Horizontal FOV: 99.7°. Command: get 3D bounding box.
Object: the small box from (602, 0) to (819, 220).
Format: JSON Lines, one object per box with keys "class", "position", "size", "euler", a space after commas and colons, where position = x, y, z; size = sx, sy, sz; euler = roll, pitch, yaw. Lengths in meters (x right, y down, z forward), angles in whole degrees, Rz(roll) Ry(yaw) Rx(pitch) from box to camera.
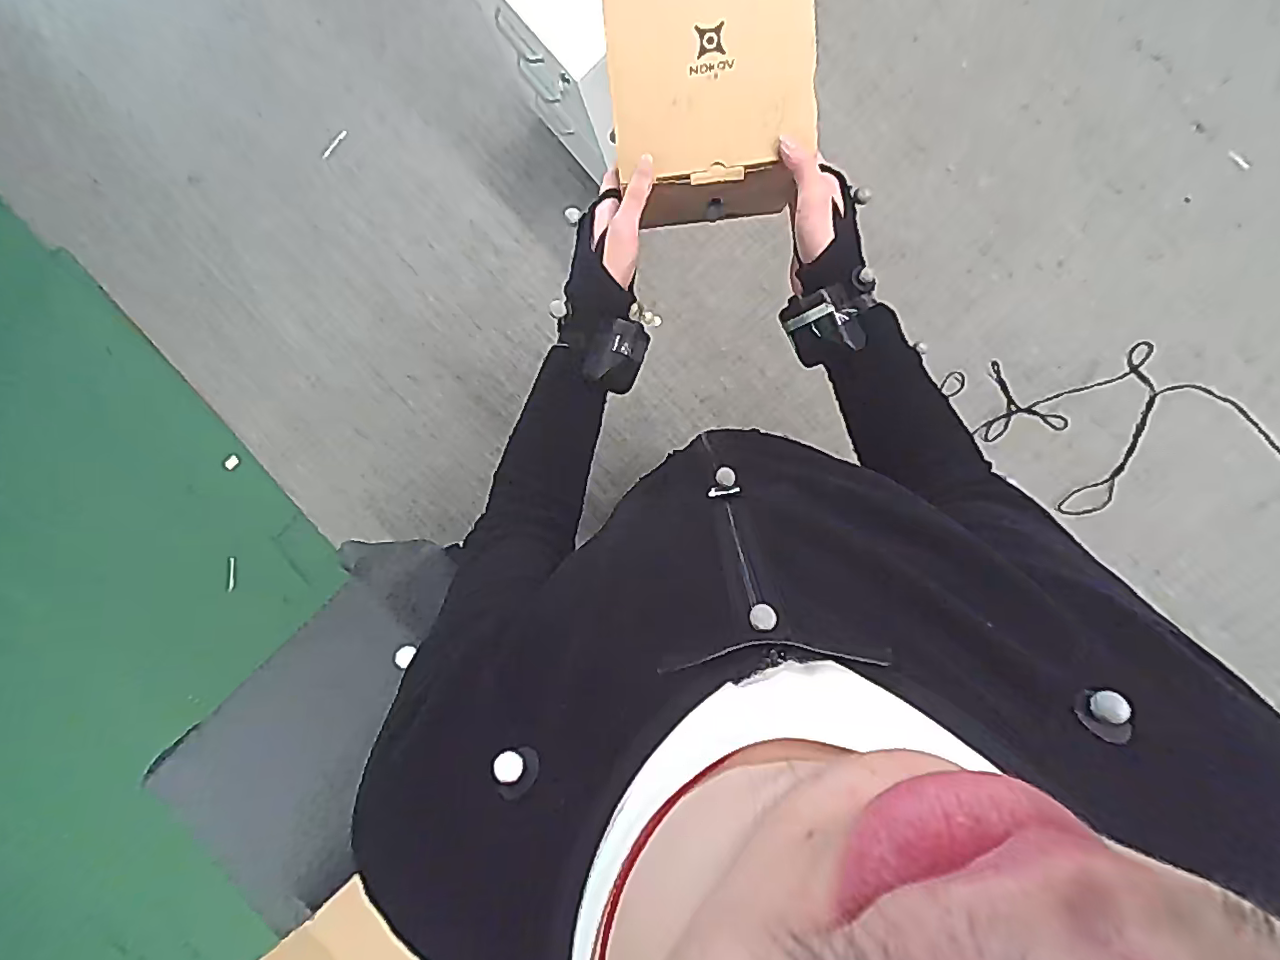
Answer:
{"class": "small box", "position": [0.066, -0.361, 0.513], "size": [0.168, 0.176, 0.179], "euler": [-7, 102, 8]}
